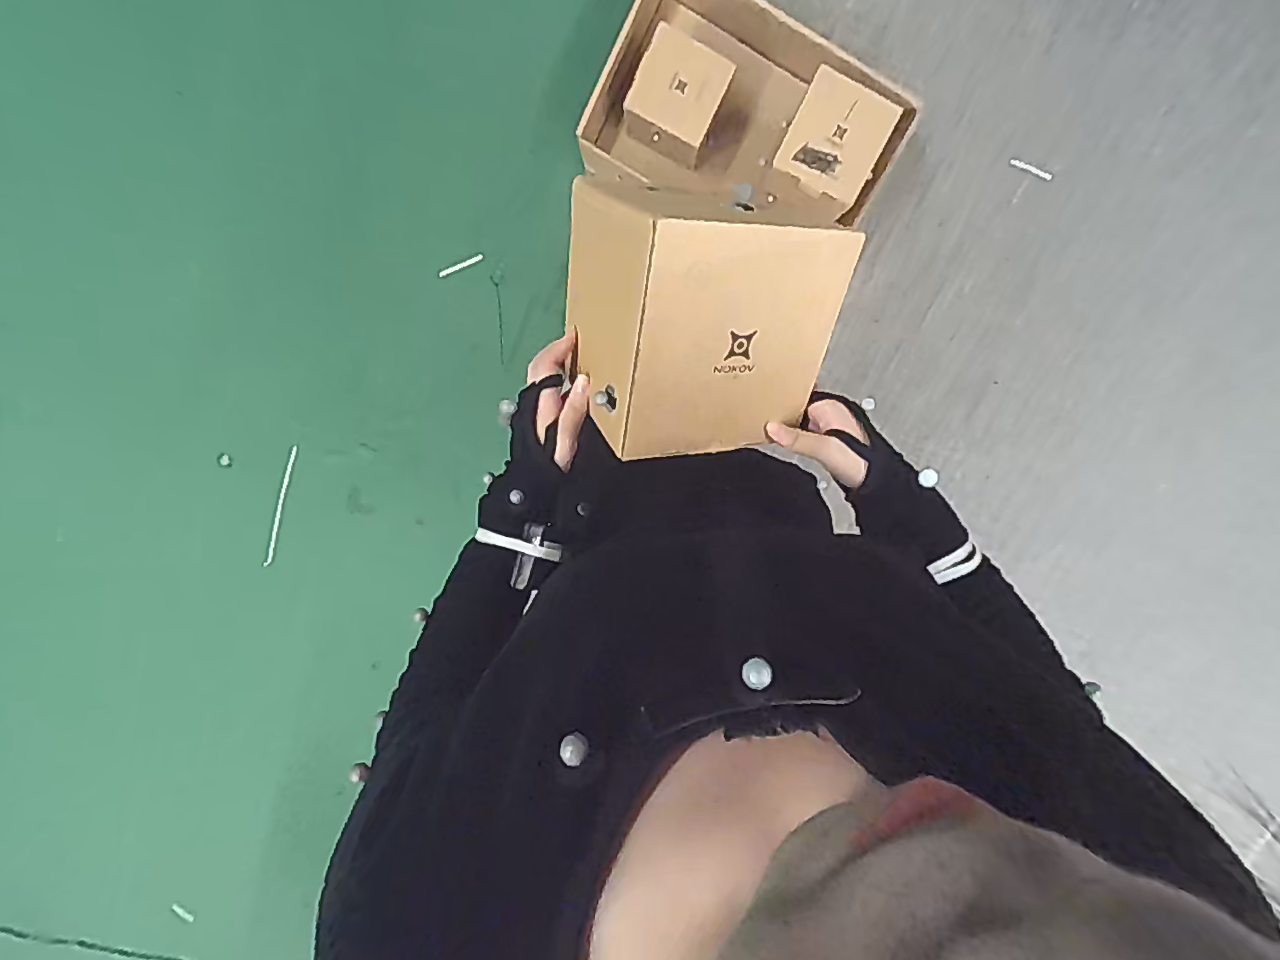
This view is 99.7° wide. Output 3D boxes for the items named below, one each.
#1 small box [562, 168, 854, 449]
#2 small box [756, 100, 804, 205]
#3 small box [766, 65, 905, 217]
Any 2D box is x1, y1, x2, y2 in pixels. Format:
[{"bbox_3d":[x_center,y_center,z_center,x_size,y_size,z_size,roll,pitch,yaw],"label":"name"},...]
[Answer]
[{"bbox_3d":[0.036,-0.149,0.456,0.168,0.176,0.179,-7,129,-22],"label":"small box"},{"bbox_3d":[0.364,-0.667,1.176,0.168,0.176,0.179,24,104,-3],"label":"small box"},{"bbox_3d":[0.352,-0.615,1.020,0.168,0.176,0.179,26,103,-3],"label":"small box"}]
